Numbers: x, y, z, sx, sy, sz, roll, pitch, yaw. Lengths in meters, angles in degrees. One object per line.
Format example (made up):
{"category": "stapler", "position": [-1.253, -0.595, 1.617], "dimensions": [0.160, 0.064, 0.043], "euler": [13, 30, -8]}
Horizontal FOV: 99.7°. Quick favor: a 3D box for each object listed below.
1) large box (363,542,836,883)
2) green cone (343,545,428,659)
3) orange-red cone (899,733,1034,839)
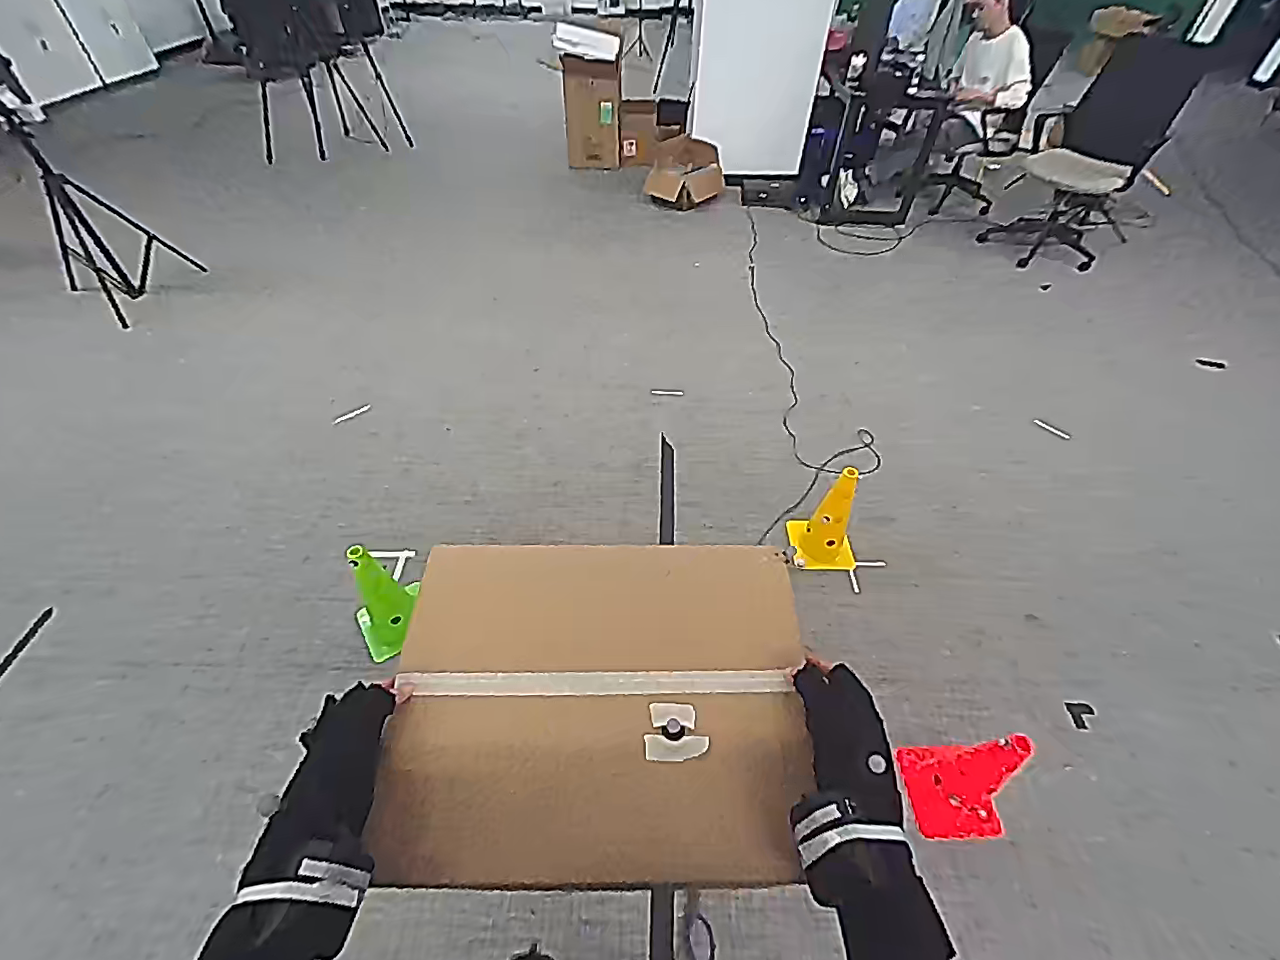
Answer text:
{"category": "large box", "position": [-0.038, 0.286, 0.655], "dimensions": [0.408, 0.320, 0.320], "euler": [0, 53, -1]}
{"category": "green cone", "position": [-0.716, 0.294, 1.487], "dimensions": [0.202, 0.368, 0.200], "euler": [-28, 53, -23]}
{"category": "orange-red cone", "position": [0.753, 0.637, 1.192], "dimensions": [0.198, 0.360, 0.199], "euler": [1, 46, -1]}
